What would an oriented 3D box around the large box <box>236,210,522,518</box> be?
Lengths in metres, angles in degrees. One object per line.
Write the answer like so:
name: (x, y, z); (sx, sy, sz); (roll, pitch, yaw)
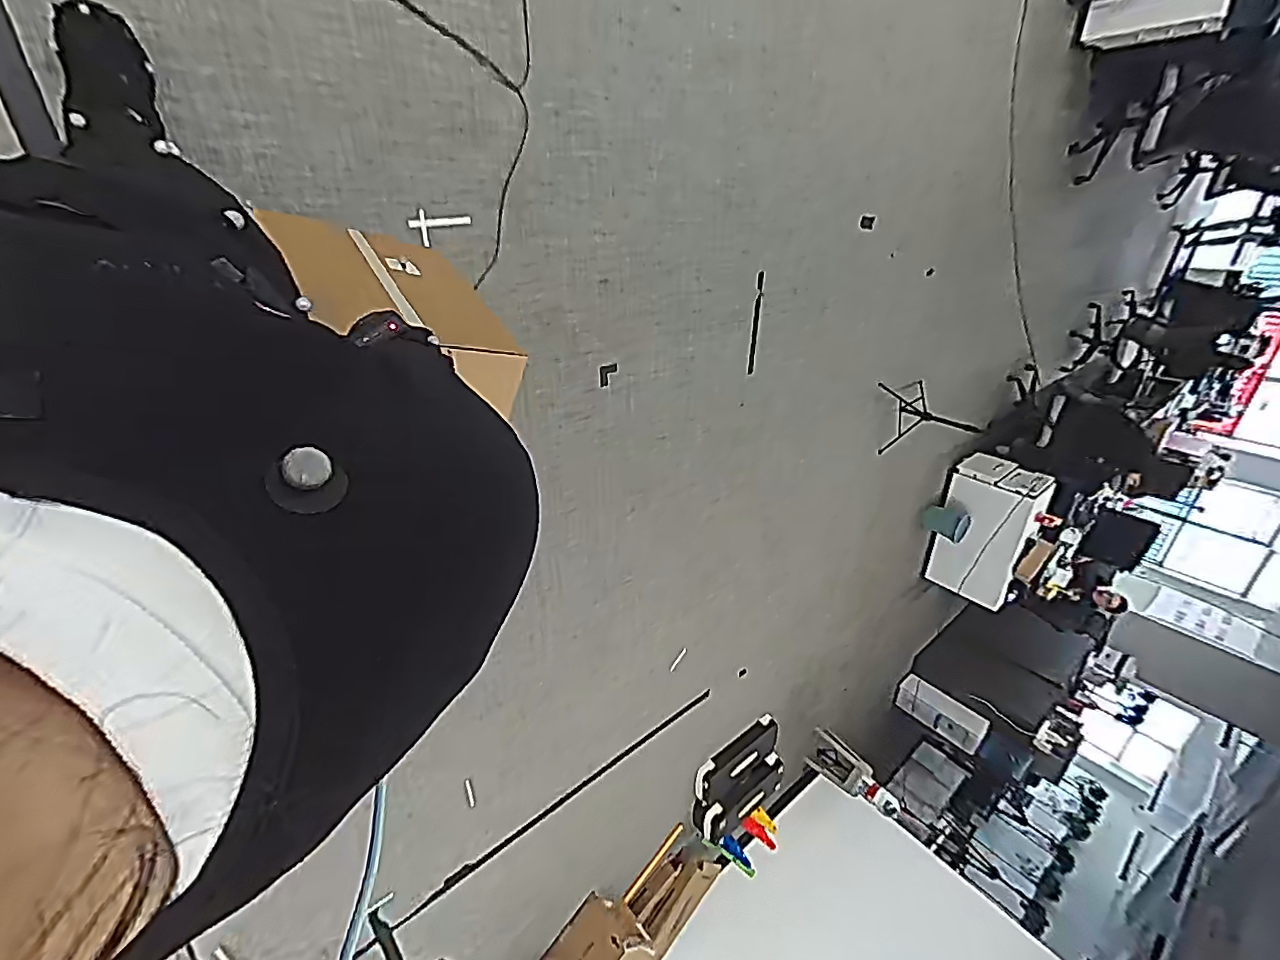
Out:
large box: (-0.455, -0.191, 0.906); (0.320, 0.408, 0.320); (-5, 132, -43)
